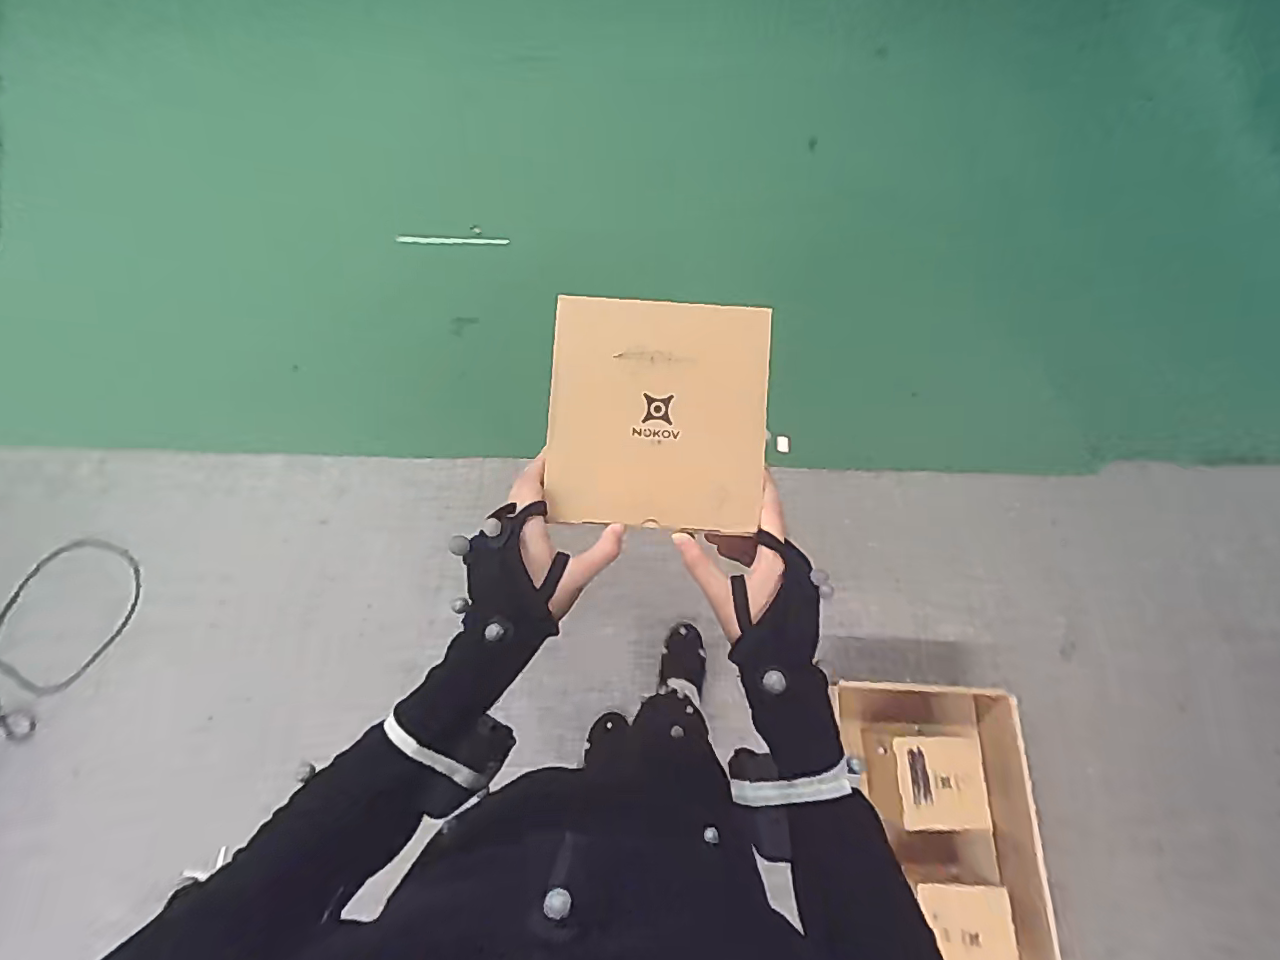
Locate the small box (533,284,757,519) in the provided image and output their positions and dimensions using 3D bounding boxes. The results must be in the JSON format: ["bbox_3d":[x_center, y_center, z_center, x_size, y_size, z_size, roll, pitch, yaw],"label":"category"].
[{"bbox_3d":[0.005,-0.057,0.495,0.168,0.176,0.179,3,86,0],"label":"small box"}]

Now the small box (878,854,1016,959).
[{"bbox_3d":[0.597,0.863,1.069,0.179,0.176,0.168,4,68,1],"label":"small box"}]
